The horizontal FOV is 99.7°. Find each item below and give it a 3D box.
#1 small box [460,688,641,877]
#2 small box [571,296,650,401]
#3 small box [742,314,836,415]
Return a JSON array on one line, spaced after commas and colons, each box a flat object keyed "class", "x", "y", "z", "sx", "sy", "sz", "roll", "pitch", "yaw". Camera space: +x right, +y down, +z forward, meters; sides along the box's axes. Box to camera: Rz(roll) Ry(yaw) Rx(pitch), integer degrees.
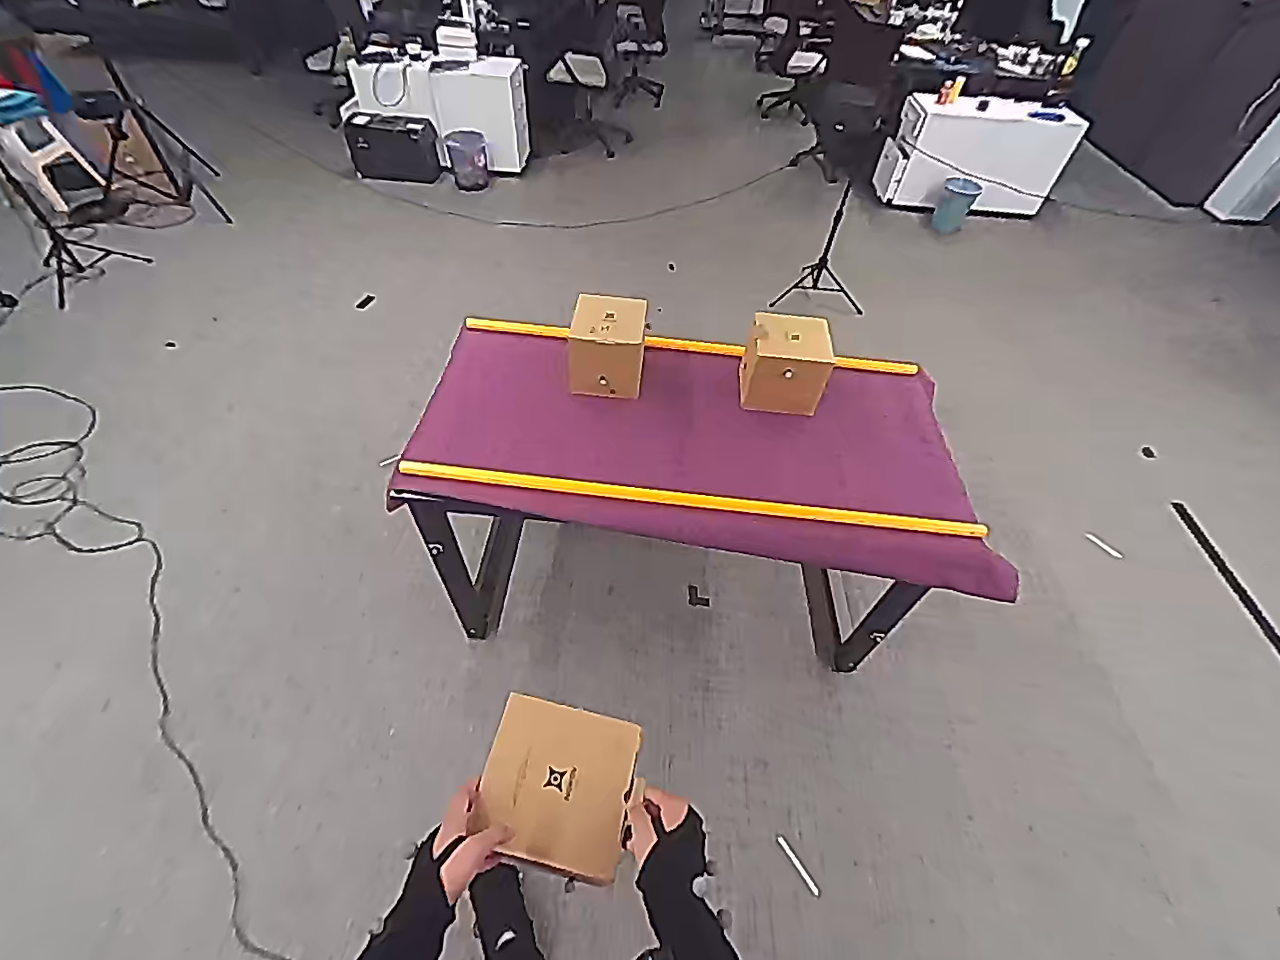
[{"class": "small box", "x": -0.110, "y": 0.395, "z": 0.699, "sx": 0.179, "sy": 0.176, "sz": 0.168, "roll": 14, "pitch": 50, "yaw": 0}, {"class": "small box", "x": -0.070, "y": -0.317, "z": 1.308, "sx": 0.168, "sy": 0.176, "sz": 0.179, "roll": 6, "pitch": 52, "yaw": 1}, {"class": "small box", "x": 0.350, "y": -0.273, "z": 1.303, "sx": 0.179, "sy": 0.176, "sz": 0.168, "roll": 6, "pitch": 51, "yaw": 1}]
